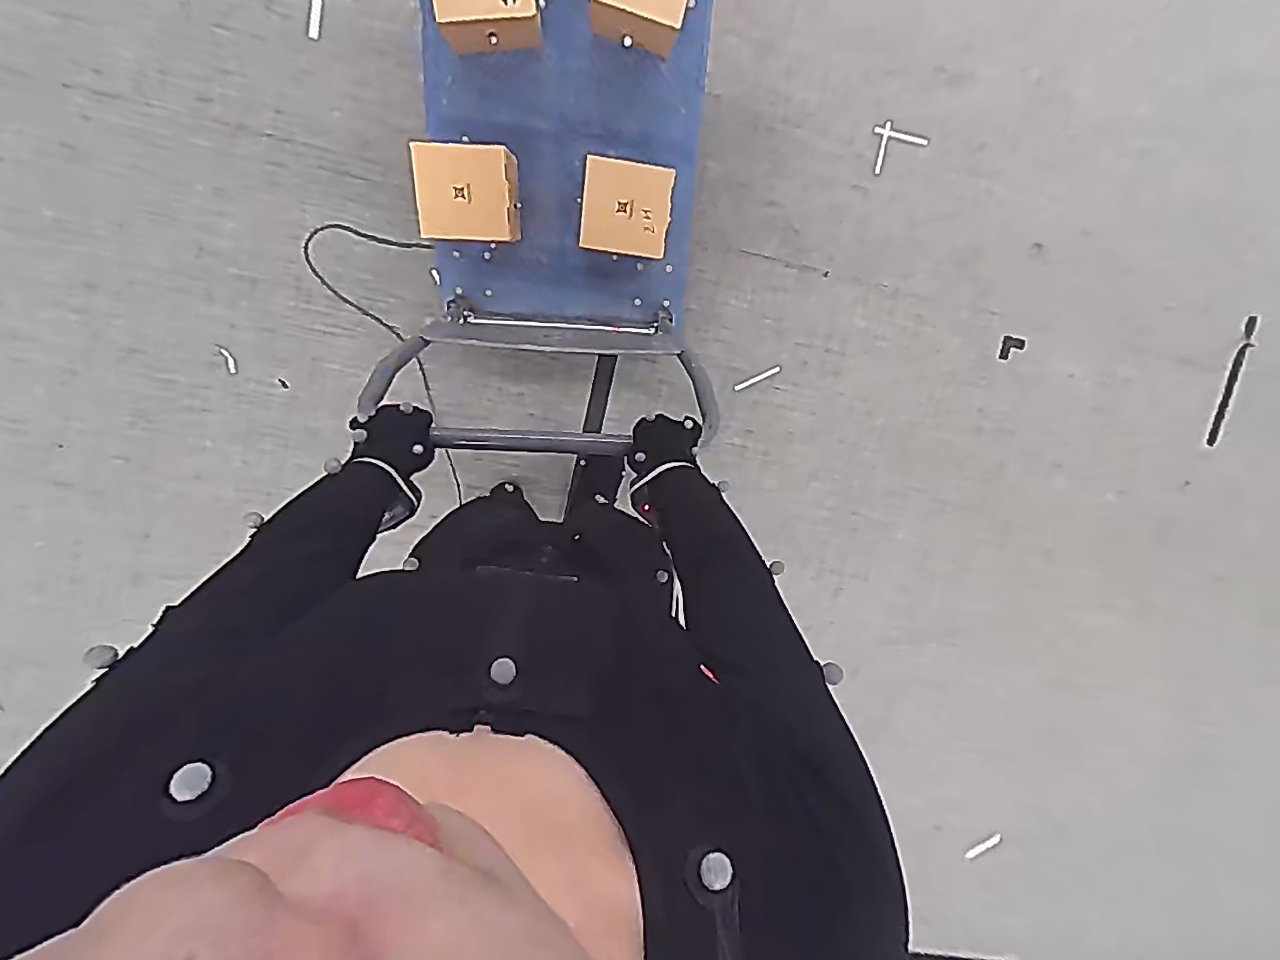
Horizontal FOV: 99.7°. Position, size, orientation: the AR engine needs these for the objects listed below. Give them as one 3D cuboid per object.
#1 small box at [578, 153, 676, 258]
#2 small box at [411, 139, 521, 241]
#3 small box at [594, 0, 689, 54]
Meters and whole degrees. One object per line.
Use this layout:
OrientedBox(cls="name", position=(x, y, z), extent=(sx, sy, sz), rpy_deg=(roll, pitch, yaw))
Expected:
OrientedBox(cls="small box", position=(-0.032, -0.569, 1.139), extent=(0.179, 0.176, 0.168), rpy_deg=(6, 113, -7))
OrientedBox(cls="small box", position=(-0.347, -0.584, 1.106), extent=(0.179, 0.176, 0.168), rpy_deg=(-1, 114, -5))
OrientedBox(cls="small box", position=(0.012, -0.927, 0.986), extent=(0.168, 0.176, 0.179), rpy_deg=(12, 113, -10))
